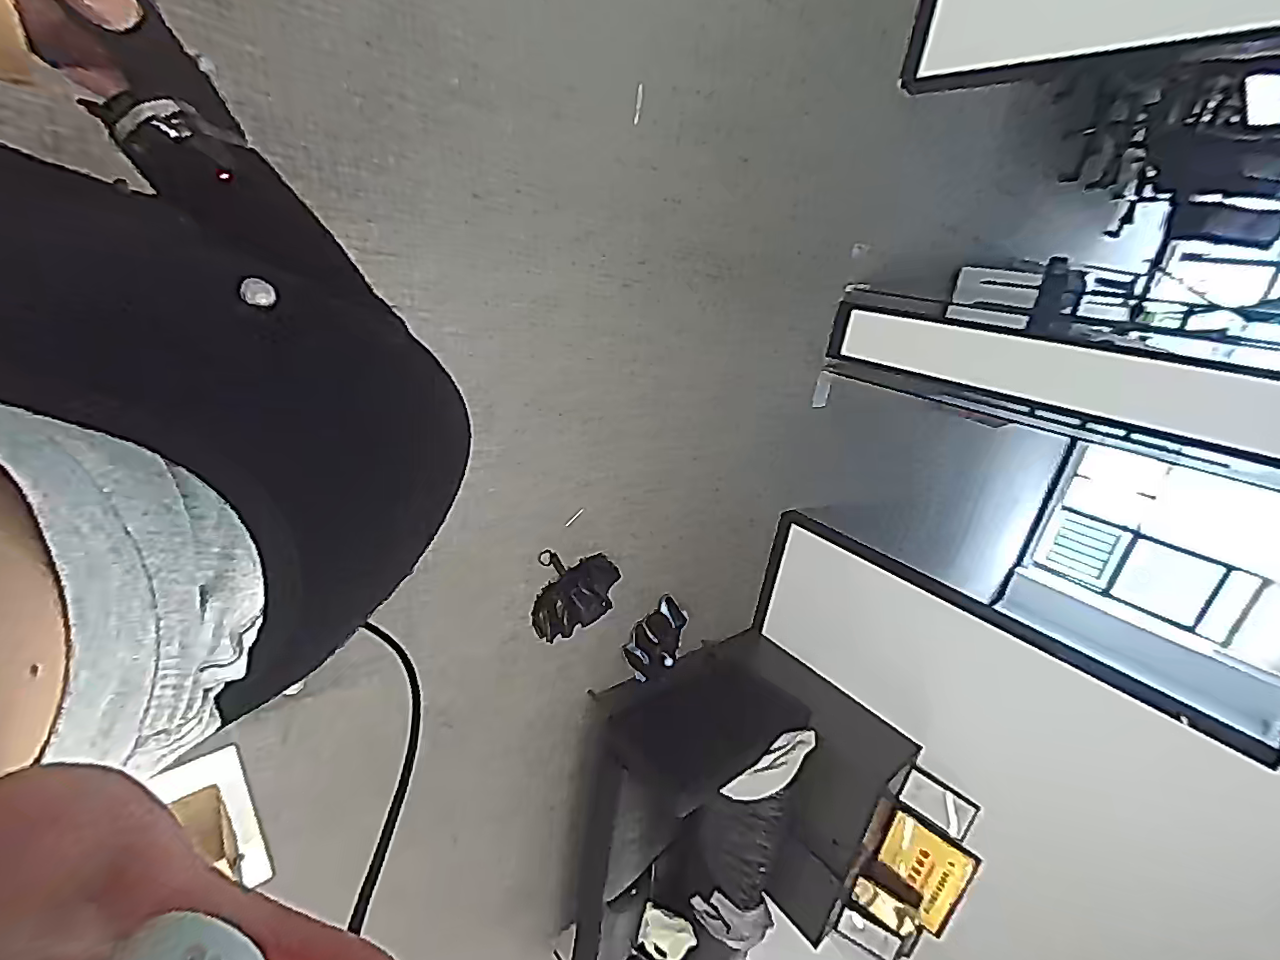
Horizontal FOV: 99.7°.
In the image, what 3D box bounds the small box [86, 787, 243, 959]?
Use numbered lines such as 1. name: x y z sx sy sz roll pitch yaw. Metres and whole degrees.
1. small box: -0.805 0.680 0.928 0.168 0.176 0.179 -15 123 -37
